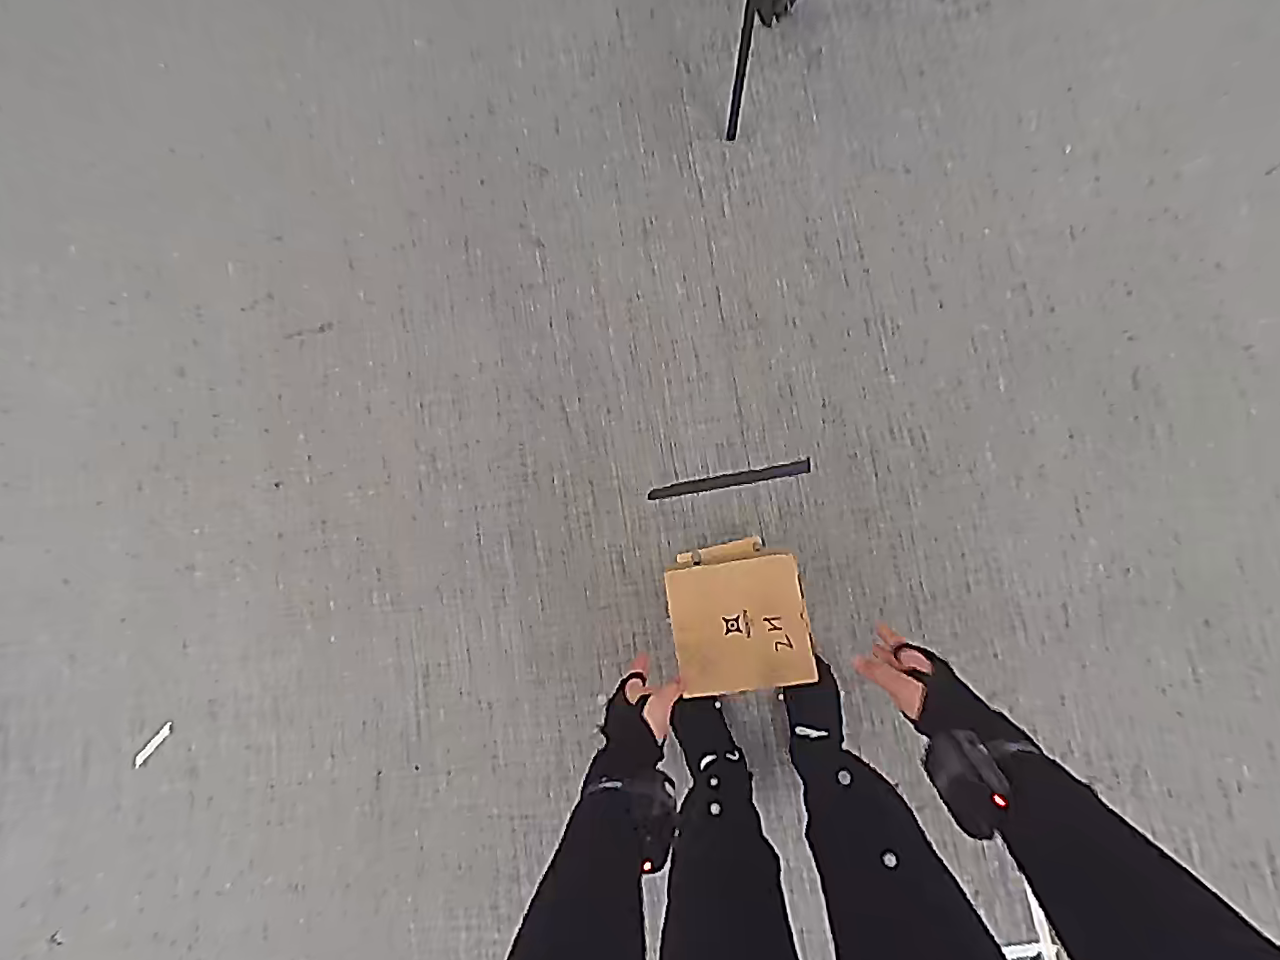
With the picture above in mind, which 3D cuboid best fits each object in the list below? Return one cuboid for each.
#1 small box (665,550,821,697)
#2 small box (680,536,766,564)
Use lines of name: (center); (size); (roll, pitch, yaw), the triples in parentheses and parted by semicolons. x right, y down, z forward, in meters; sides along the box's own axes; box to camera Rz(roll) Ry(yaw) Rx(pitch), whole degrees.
small box: (0.140, 0.193, 0.767); (0.179, 0.176, 0.168); (-10, 84, 6)
small box: (0.182, 0.219, 1.093); (0.168, 0.176, 0.179); (-15, 82, 6)
